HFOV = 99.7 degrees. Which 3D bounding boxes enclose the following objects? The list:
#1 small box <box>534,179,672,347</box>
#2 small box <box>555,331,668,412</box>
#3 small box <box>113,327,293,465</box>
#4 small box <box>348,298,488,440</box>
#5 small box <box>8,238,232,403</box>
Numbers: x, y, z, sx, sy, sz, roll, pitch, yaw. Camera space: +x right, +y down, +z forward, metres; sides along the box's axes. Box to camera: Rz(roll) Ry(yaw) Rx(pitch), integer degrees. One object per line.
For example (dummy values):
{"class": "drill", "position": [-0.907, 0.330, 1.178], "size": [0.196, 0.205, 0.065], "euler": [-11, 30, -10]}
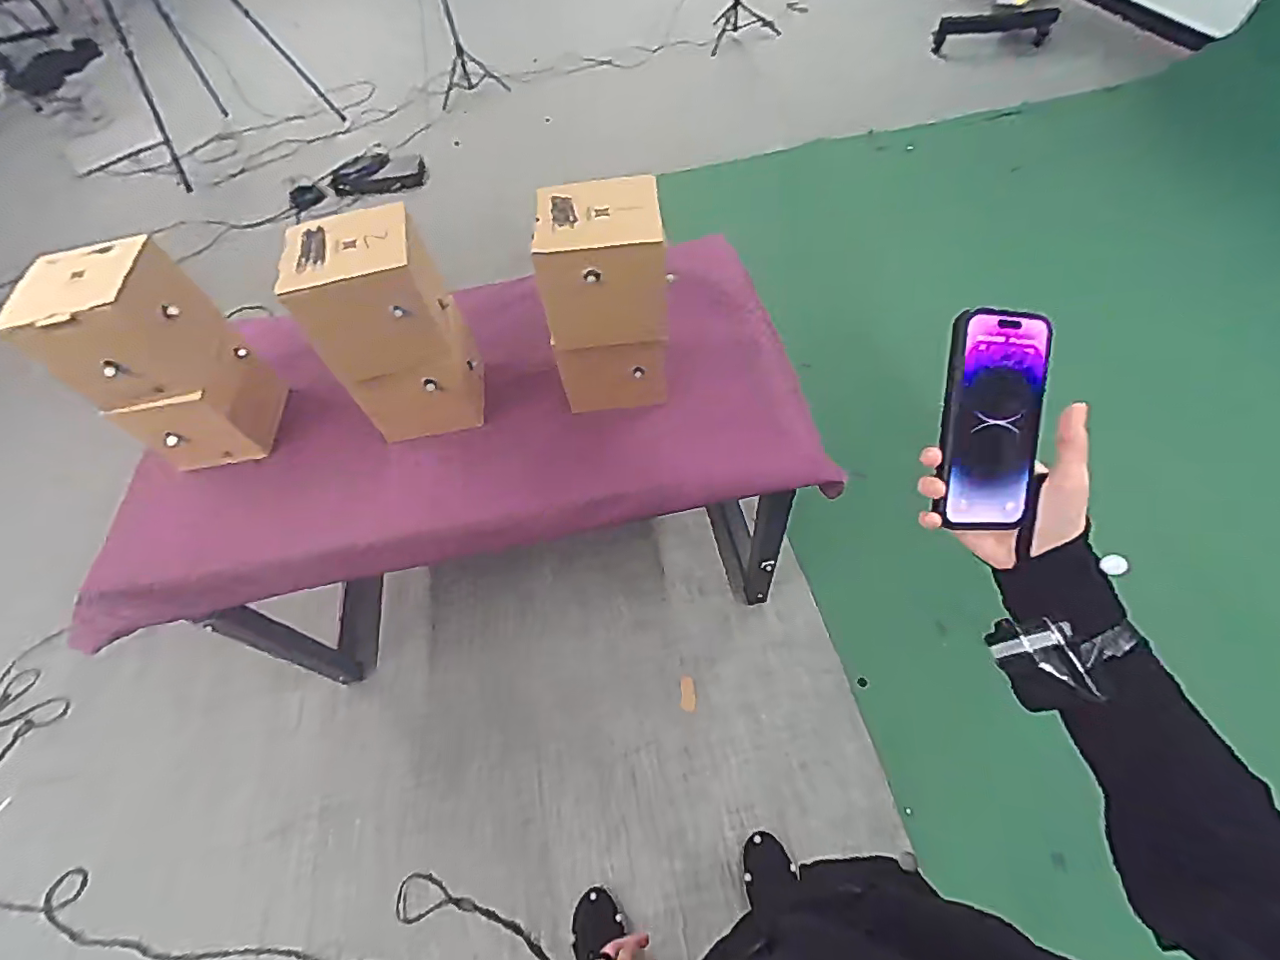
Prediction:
{"class": "small box", "position": [-0.047, -0.317, 0.809], "size": [0.179, 0.176, 0.168], "euler": [-5, 56, 3]}
{"class": "small box", "position": [-0.041, -0.238, 0.954], "size": [0.179, 0.176, 0.168], "euler": [-5, 56, 4]}
{"class": "small box", "position": [-0.766, -0.142, 0.975], "size": [0.168, 0.176, 0.179], "euler": [-9, 56, 0]}
{"class": "small box", "position": [-0.379, -0.192, 0.961], "size": [0.179, 0.176, 0.168], "euler": [-10, 56, 0]}
{"class": "small box", "position": [-0.784, -0.239, 0.843], "size": [0.168, 0.176, 0.179], "euler": [-13, 57, -3]}
